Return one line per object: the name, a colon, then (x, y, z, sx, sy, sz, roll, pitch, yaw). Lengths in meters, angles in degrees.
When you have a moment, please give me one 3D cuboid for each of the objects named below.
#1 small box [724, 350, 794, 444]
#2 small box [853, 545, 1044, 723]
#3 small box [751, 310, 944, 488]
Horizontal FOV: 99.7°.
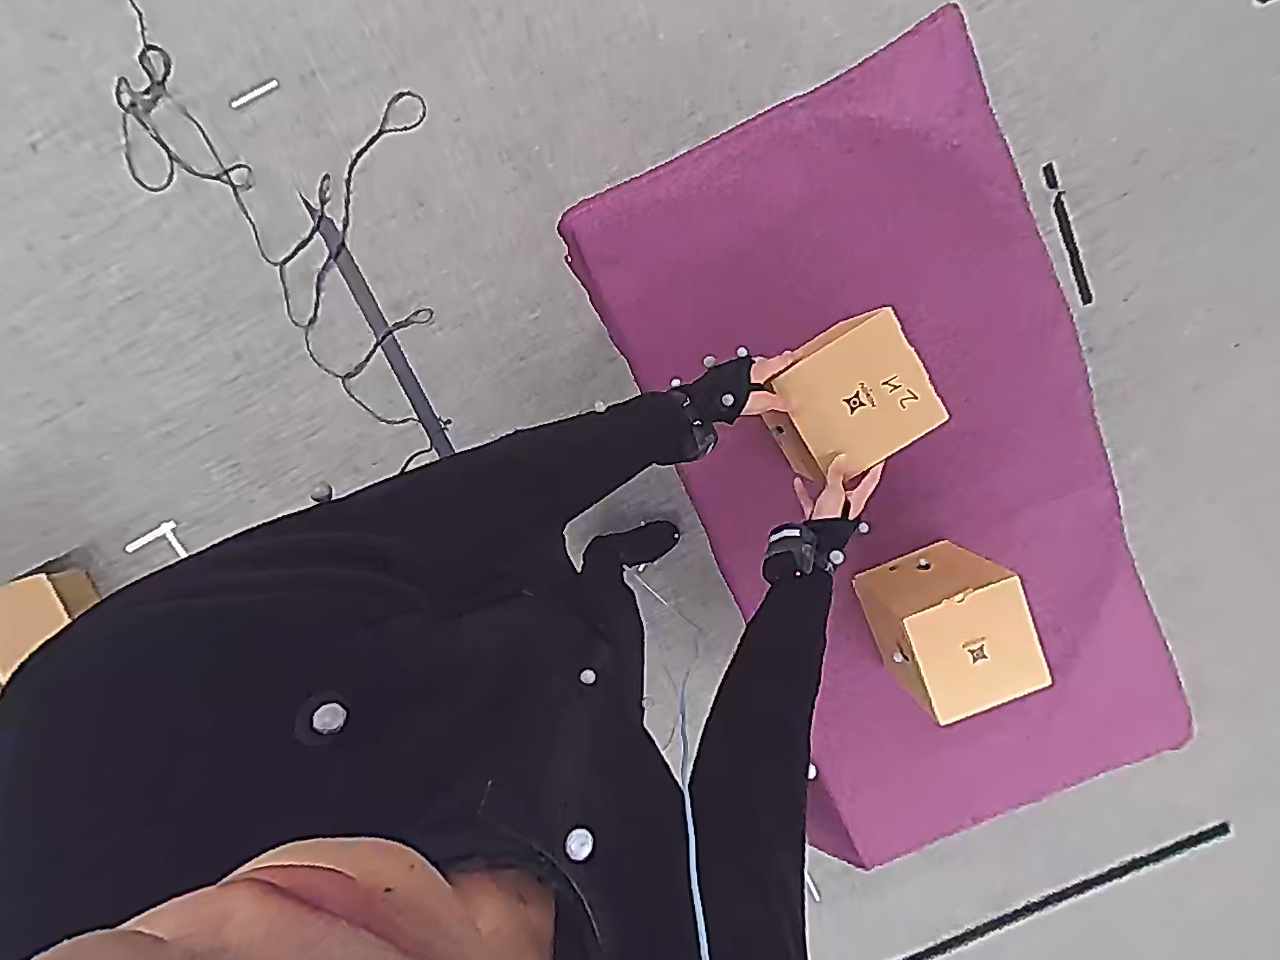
small box: (0.329, -0.209, 1.370, 0.168, 0.176, 0.179, -28, 101, 3)
small box: (0.454, 0.222, 0.820, 0.168, 0.176, 0.179, -23, 98, 3)
small box: (0.272, -0.111, 0.760, 0.179, 0.176, 0.168, -32, 99, 4)
